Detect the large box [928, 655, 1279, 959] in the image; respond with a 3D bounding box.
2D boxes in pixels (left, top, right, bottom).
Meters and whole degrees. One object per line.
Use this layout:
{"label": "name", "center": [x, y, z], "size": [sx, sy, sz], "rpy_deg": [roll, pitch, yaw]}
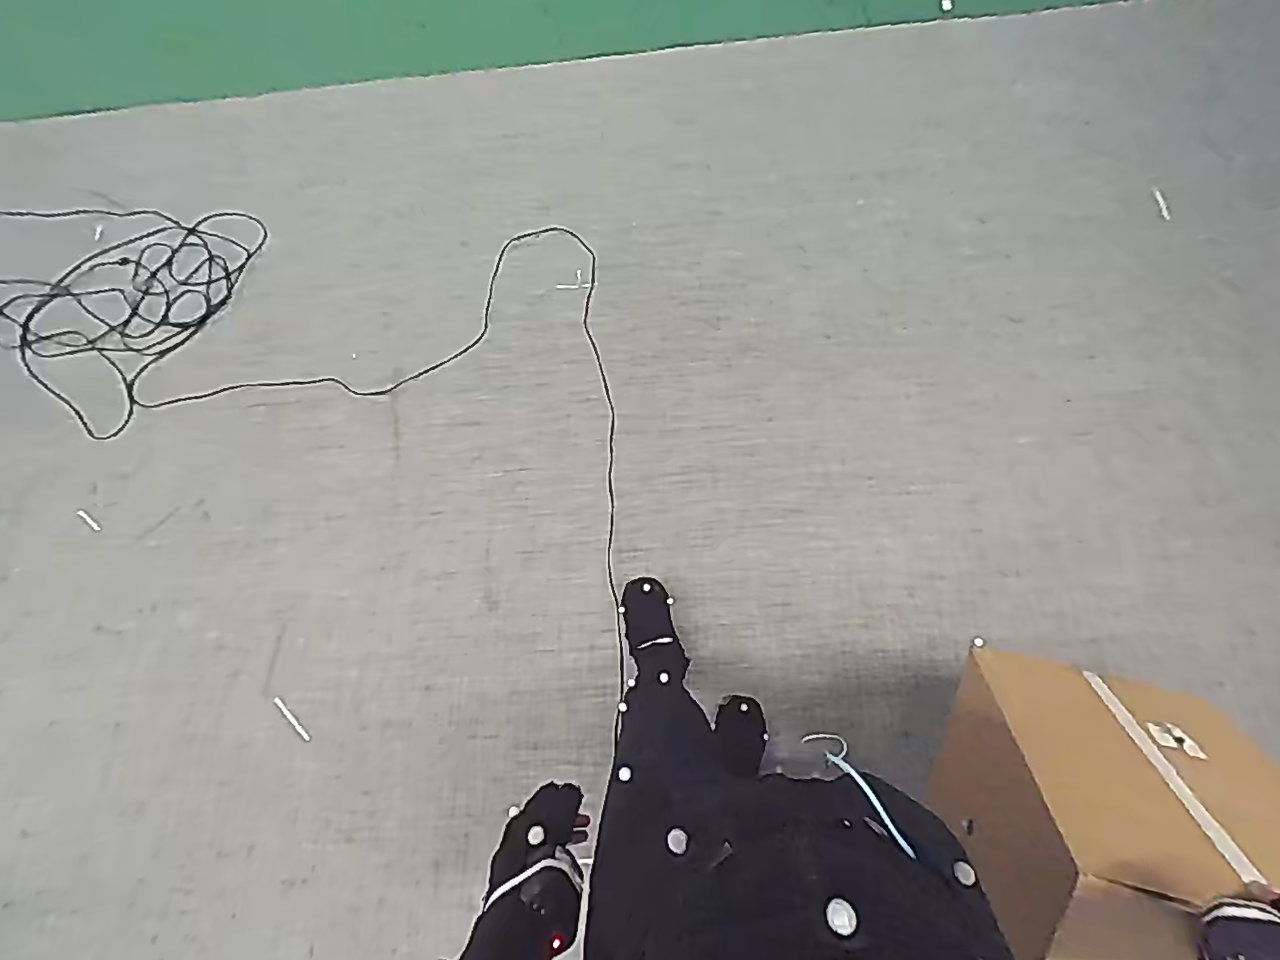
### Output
{"label": "large box", "center": [0.598, 0.494, 0.683], "size": [0.320, 0.408, 0.320], "rpy_deg": [11, 106, 15]}
